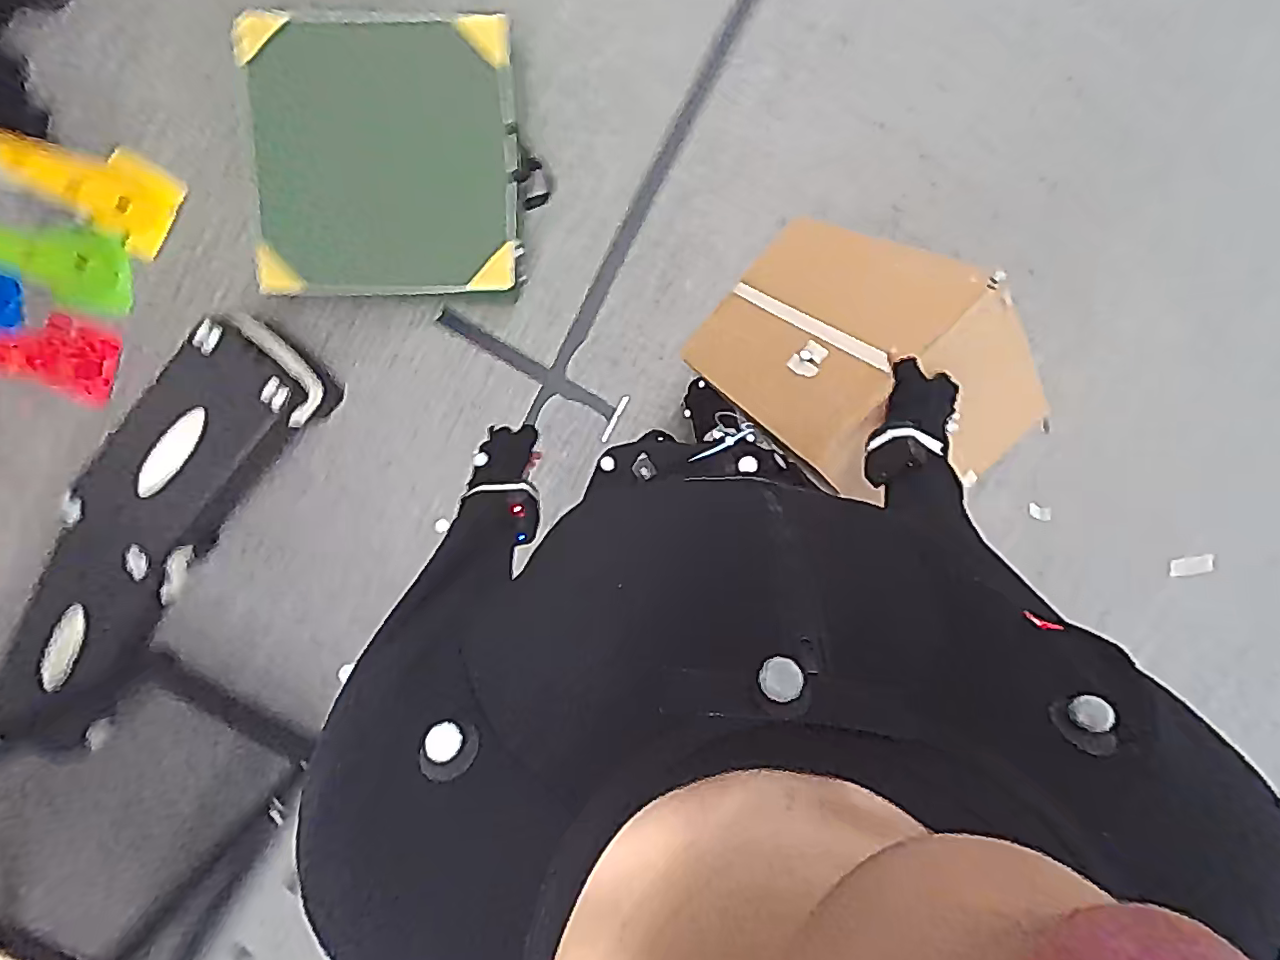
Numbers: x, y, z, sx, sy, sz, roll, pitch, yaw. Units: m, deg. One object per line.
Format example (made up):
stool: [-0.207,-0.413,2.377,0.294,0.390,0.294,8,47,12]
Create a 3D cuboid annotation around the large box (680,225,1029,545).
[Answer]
large box: [0.342,-0.167,0.917,0.320,0.408,0.320,-46,131,10]
